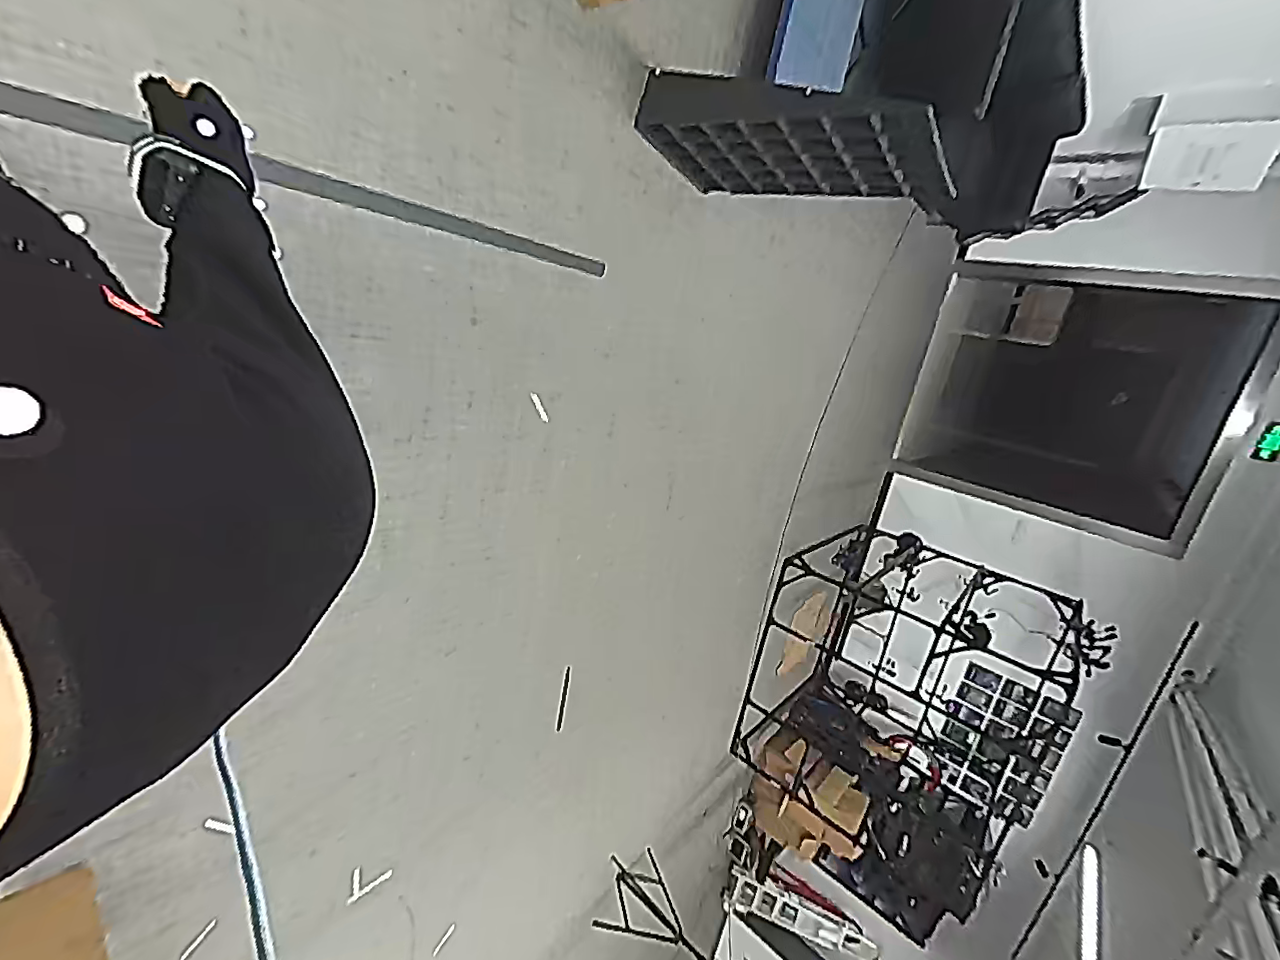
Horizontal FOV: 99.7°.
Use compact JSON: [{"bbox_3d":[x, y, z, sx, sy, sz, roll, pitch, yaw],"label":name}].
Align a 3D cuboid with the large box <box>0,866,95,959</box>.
[{"bbox_3d":[-1.424,1.144,1.128,0.408,0.320,0.320,-7,114,-50],"label":"large box"}]
